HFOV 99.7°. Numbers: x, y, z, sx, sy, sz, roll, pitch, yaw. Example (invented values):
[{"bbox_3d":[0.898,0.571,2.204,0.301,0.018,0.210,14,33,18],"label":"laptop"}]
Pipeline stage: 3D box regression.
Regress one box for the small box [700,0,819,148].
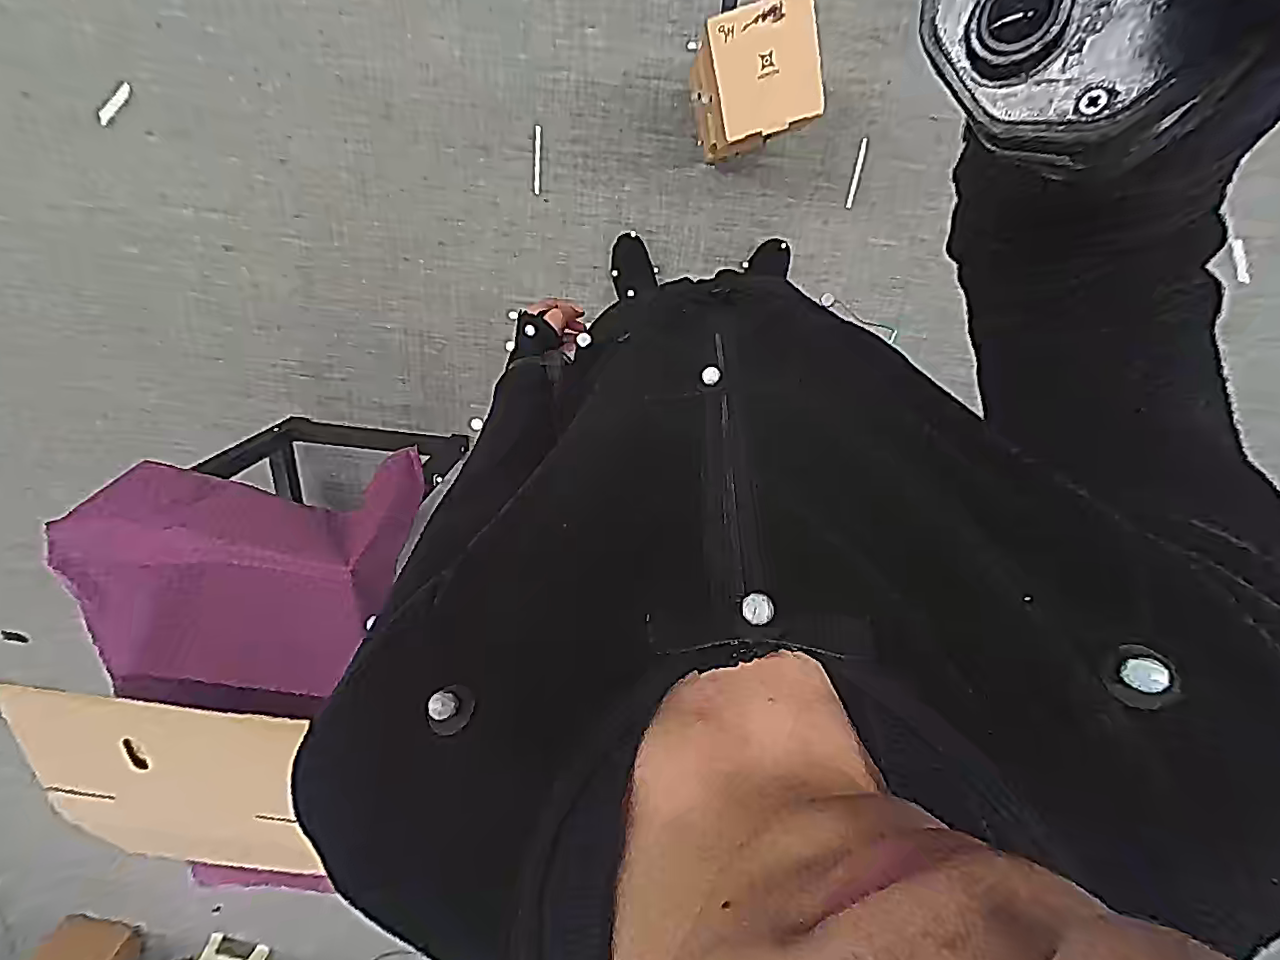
[{"bbox_3d":[0.204,-0.699,0.946,0.168,0.176,0.179,-12,115,8],"label":"small box"}]
